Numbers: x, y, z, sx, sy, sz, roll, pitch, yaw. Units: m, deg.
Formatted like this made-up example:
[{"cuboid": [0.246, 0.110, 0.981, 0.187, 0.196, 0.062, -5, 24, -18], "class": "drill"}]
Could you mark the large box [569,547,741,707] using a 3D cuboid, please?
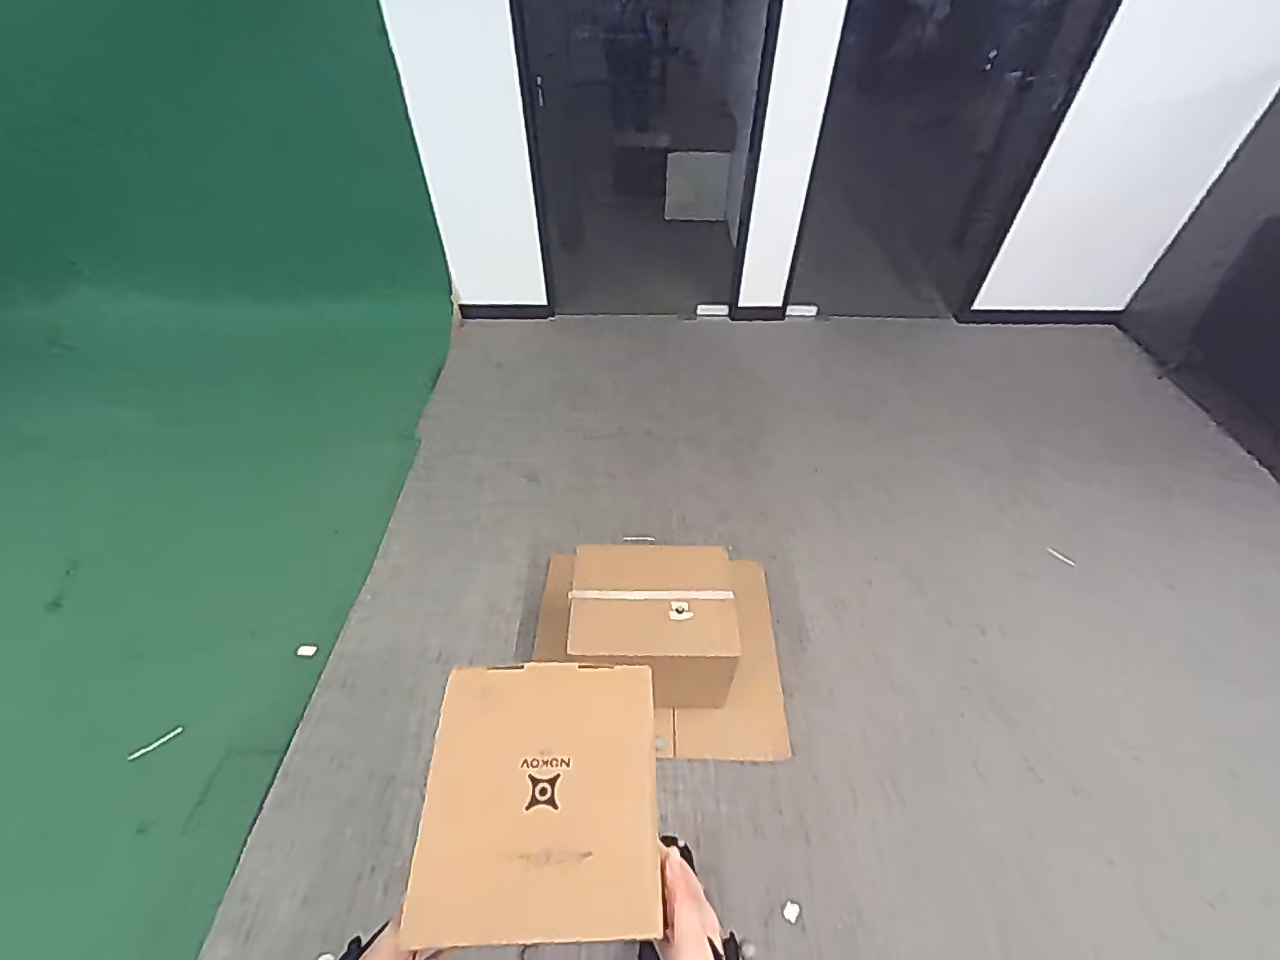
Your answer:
[{"cuboid": [0.028, 0.393, 1.439, 0.408, 0.320, 0.320, 1, 47, -1], "class": "large box"}]
